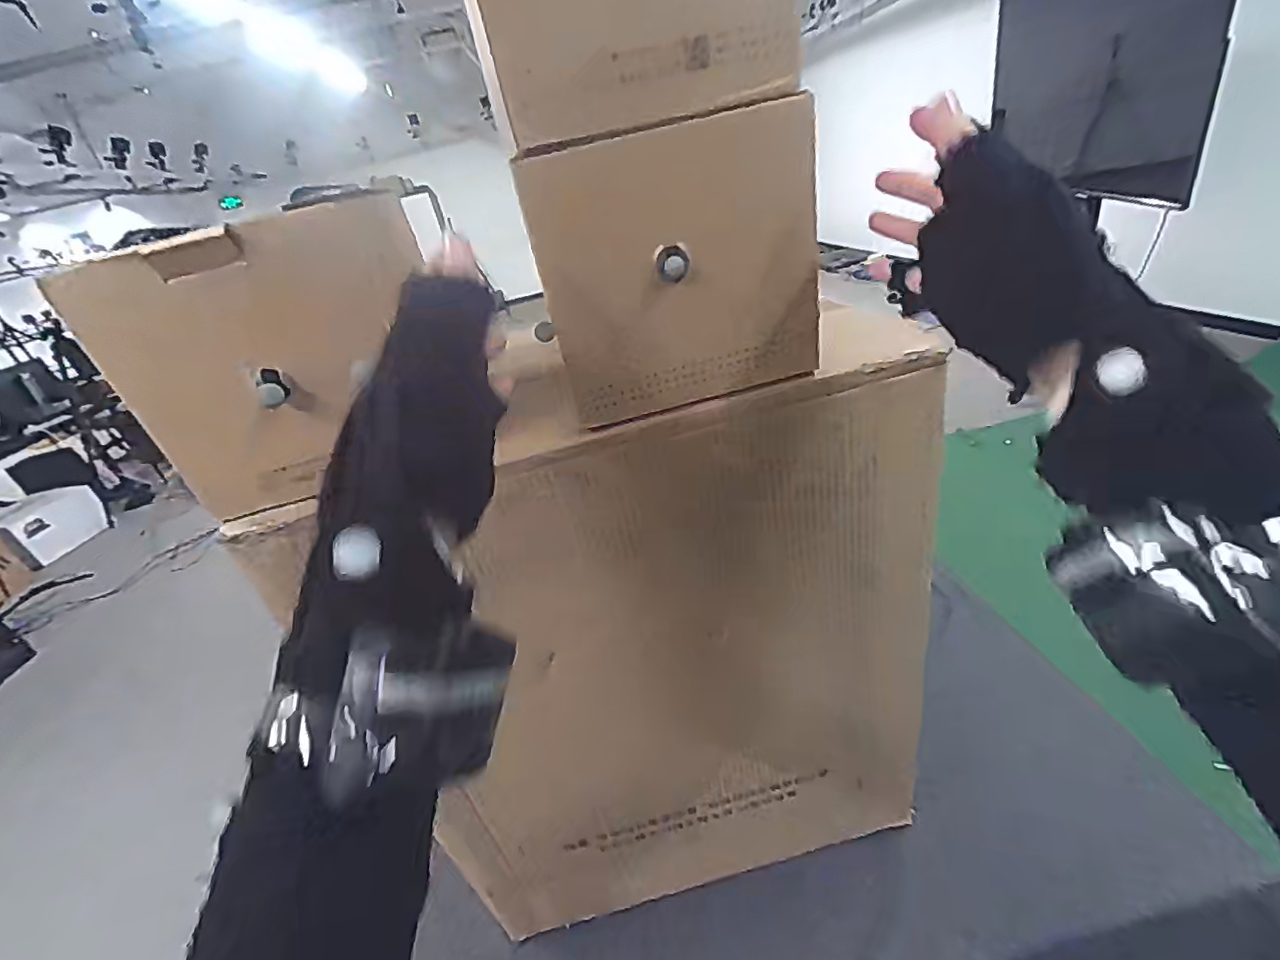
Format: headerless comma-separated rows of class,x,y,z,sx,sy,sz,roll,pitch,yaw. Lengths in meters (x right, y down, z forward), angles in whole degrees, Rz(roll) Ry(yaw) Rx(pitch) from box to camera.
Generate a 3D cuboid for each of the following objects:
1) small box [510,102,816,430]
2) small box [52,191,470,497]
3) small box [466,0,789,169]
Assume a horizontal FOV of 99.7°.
small box,0.015,-0.158,0.405,0.179,0.176,0.168,-15,31,-3
small box,-0.239,-0.102,0.408,0.168,0.176,0.179,-15,32,-3
small box,-0.020,-0.297,0.330,0.168,0.176,0.179,-15,29,-7
